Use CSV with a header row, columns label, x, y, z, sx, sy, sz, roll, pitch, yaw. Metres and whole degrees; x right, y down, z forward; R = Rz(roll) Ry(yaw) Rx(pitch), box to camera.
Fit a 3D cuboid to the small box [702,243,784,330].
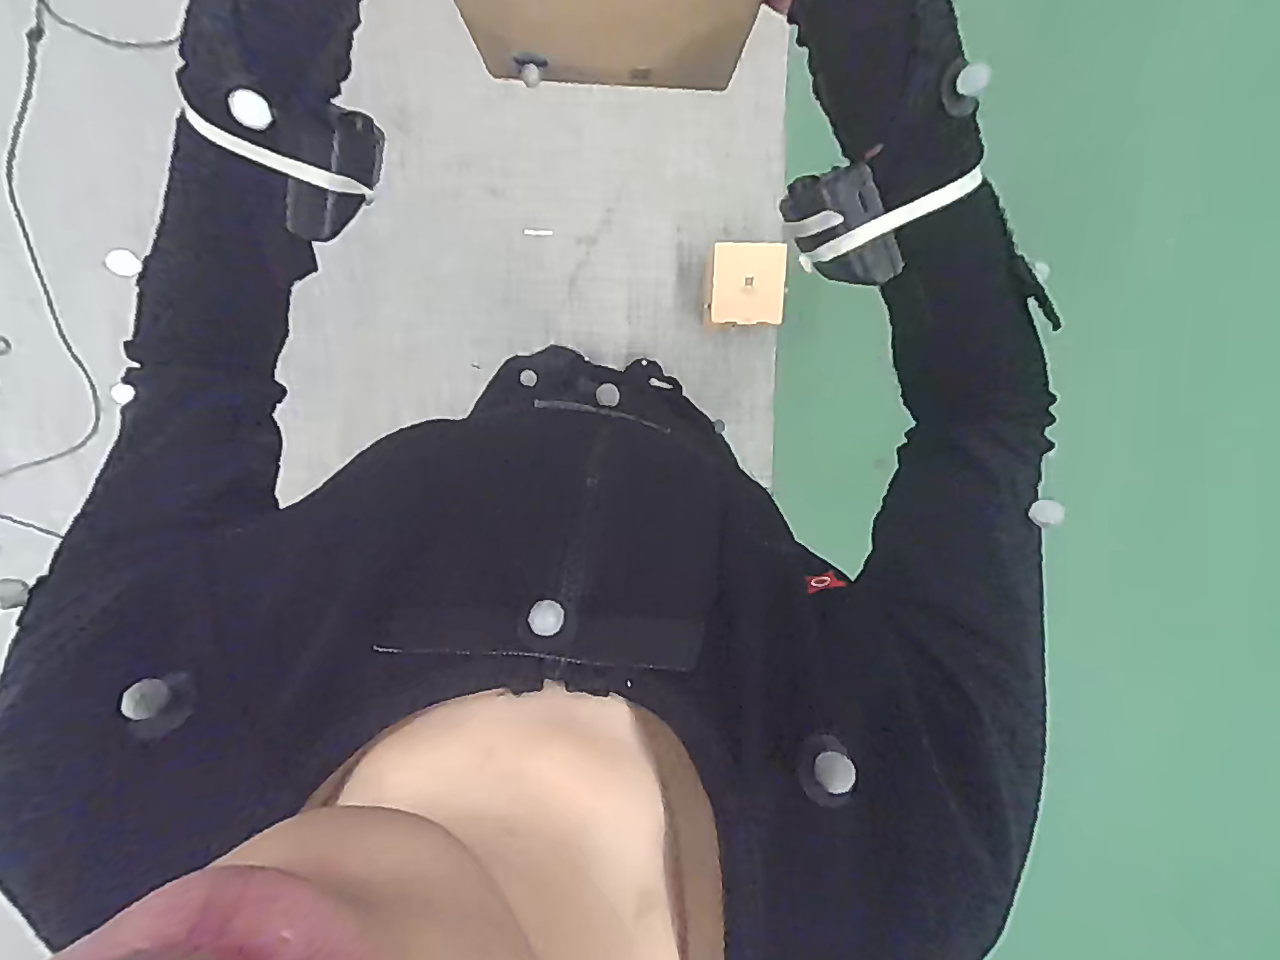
label,x,y,z,sx,sy,sz,roll,pitch,yaw
small box,0.242,-0.463,1.311,0.168,0.176,0.179,1,102,1
